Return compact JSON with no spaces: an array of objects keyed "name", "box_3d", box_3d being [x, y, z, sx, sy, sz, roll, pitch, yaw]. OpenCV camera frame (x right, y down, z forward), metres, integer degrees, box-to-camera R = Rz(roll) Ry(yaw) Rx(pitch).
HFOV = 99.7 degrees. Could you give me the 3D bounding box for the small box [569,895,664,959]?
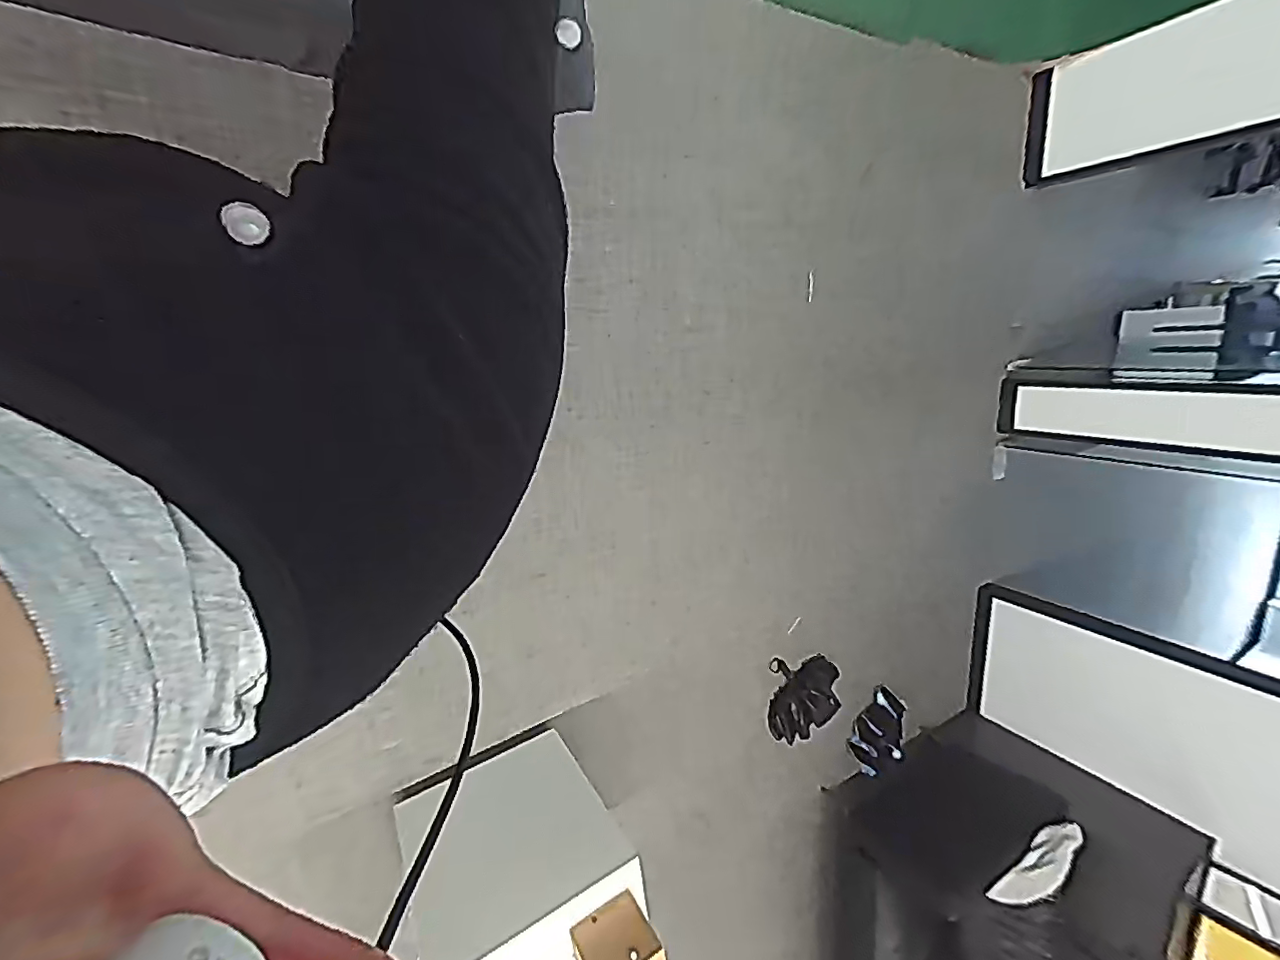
[{"name":"small box","box_3d":[-0.048,1.123,1.246,0.168,0.176,0.179,-17,110,-27]}]
